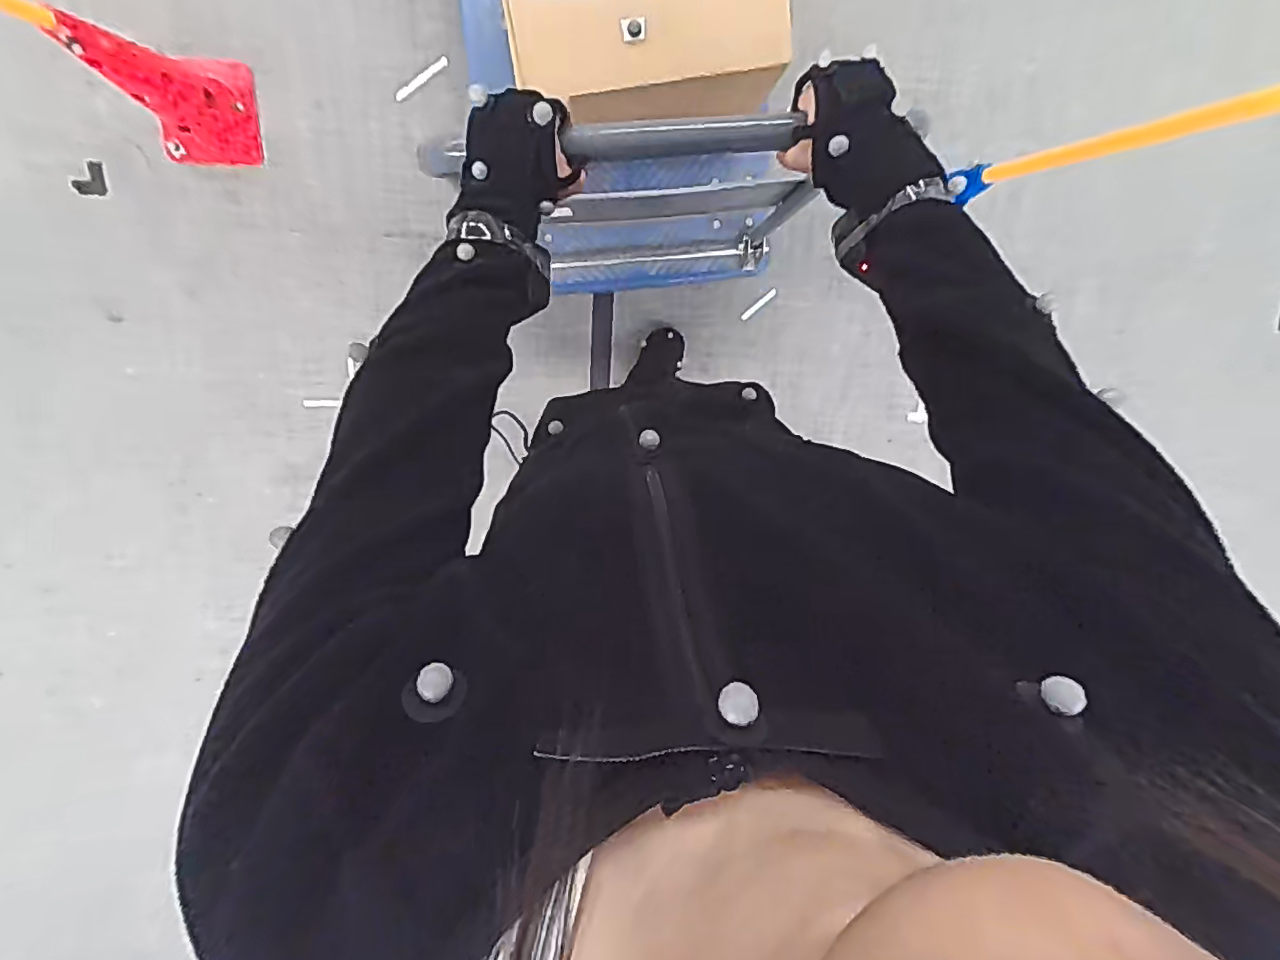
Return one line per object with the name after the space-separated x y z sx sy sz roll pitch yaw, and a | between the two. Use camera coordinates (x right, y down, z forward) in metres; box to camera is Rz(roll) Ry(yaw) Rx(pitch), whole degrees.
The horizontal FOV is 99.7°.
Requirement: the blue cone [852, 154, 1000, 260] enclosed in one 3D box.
0.621 -0.601 1.159 0.193 0.380 0.192 -3 103 -4 | blue cone
